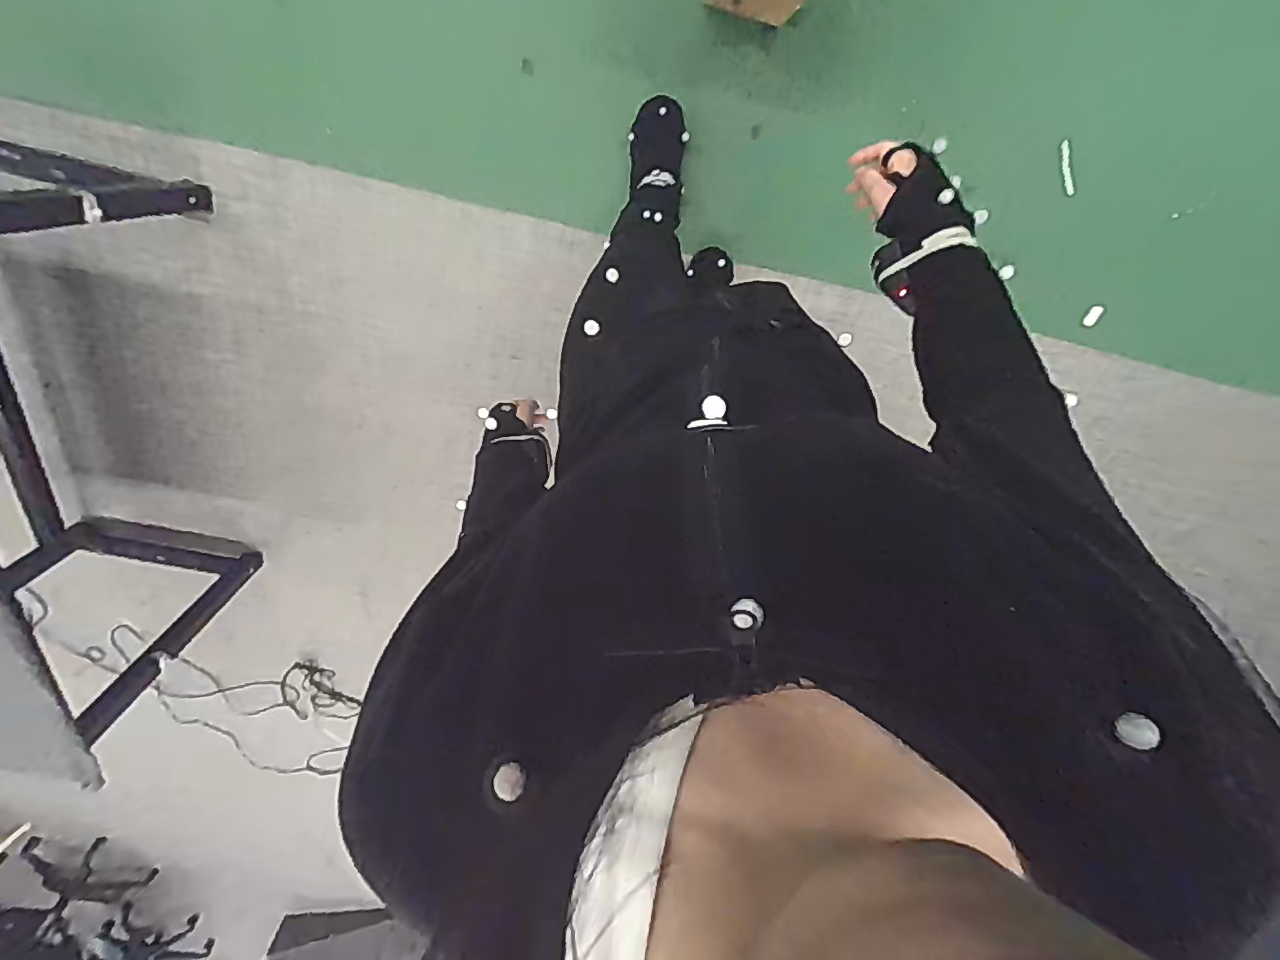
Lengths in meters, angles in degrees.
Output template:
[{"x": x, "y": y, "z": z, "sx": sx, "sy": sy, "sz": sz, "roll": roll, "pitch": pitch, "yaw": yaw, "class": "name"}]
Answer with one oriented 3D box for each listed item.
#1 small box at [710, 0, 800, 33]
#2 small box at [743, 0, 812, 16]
[{"x": 0.226, "y": -0.944, "z": 0.973, "sx": 0.168, "sy": 0.176, "sz": 0.179, "roll": 12, "pitch": 119, "yaw": -4, "class": "small box"}, {"x": 0.216, "y": -0.863, "z": 0.830, "sx": 0.168, "sy": 0.176, "sz": 0.179, "roll": 14, "pitch": 120, "yaw": -5, "class": "small box"}]
